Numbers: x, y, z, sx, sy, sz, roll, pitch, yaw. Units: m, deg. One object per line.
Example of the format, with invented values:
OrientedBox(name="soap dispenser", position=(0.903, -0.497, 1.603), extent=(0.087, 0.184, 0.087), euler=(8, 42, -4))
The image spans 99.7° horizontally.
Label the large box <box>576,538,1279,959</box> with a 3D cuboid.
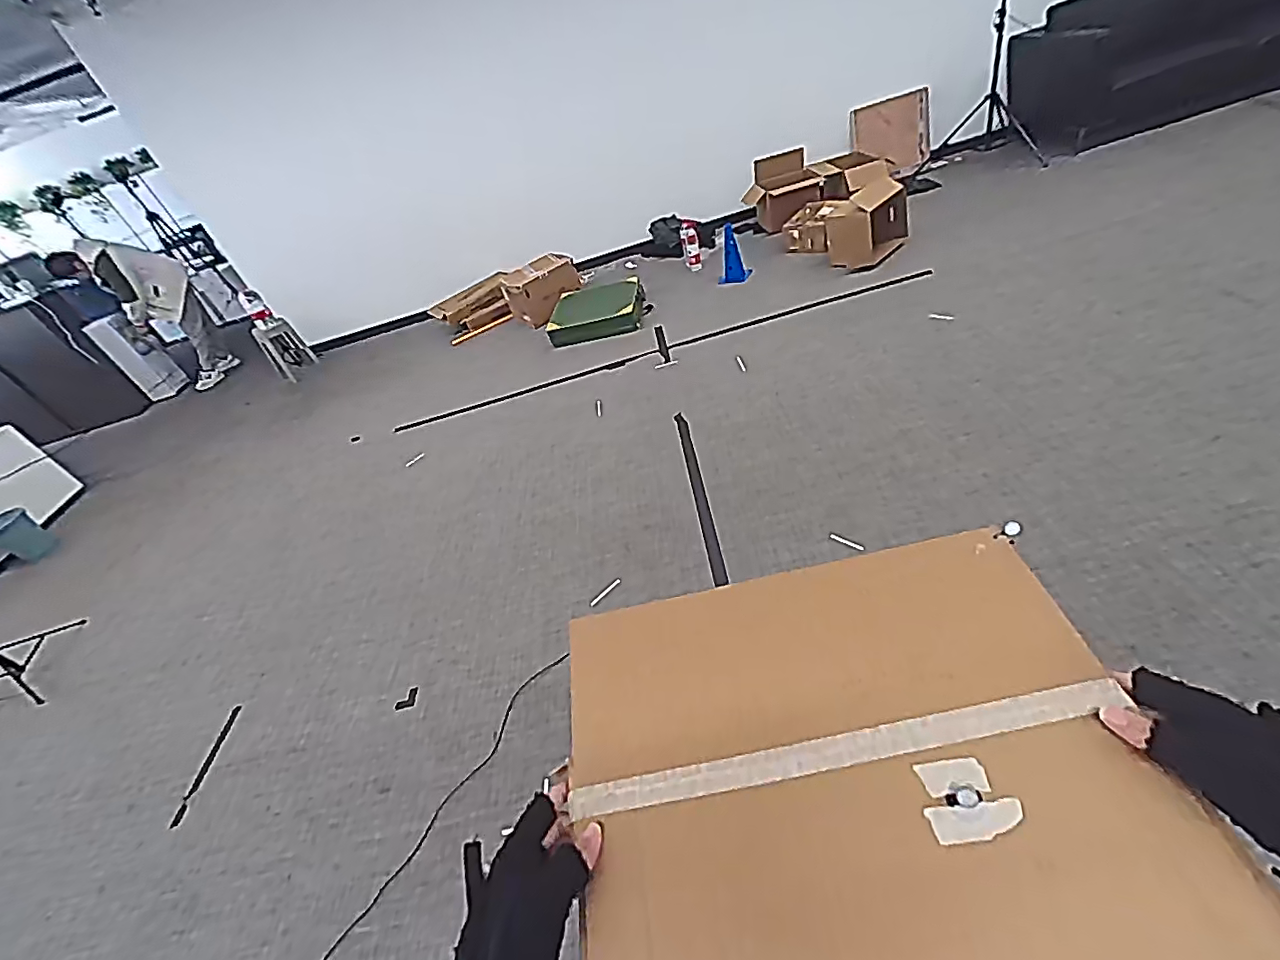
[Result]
OrientedBox(name="large box", position=(0.180, 0.308, 0.513), extent=(0.408, 0.320, 0.320), euler=(-14, 46, 3))
